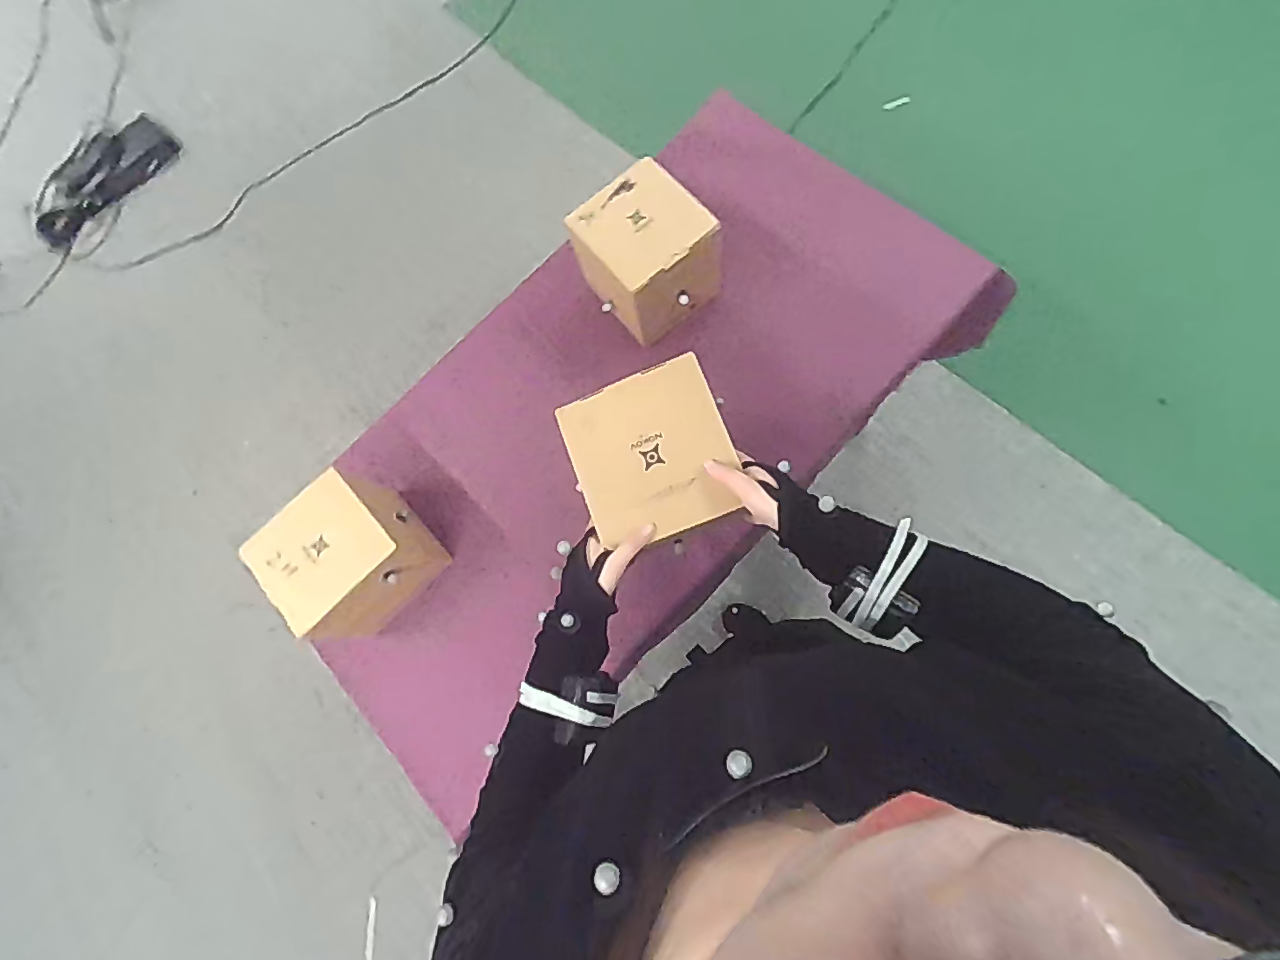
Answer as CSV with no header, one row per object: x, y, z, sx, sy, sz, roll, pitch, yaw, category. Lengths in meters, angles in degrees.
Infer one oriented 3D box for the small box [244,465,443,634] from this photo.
-0.428,0.109,0.816,0.179,0.176,0.168,-44,73,-4,small box

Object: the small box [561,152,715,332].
0.006,-0.365,0.869,0.168,0.176,0.179,-39,74,-3,small box

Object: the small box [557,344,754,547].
0.025,-0.026,0.639,0.168,0.176,0.179,-21,80,8,small box
